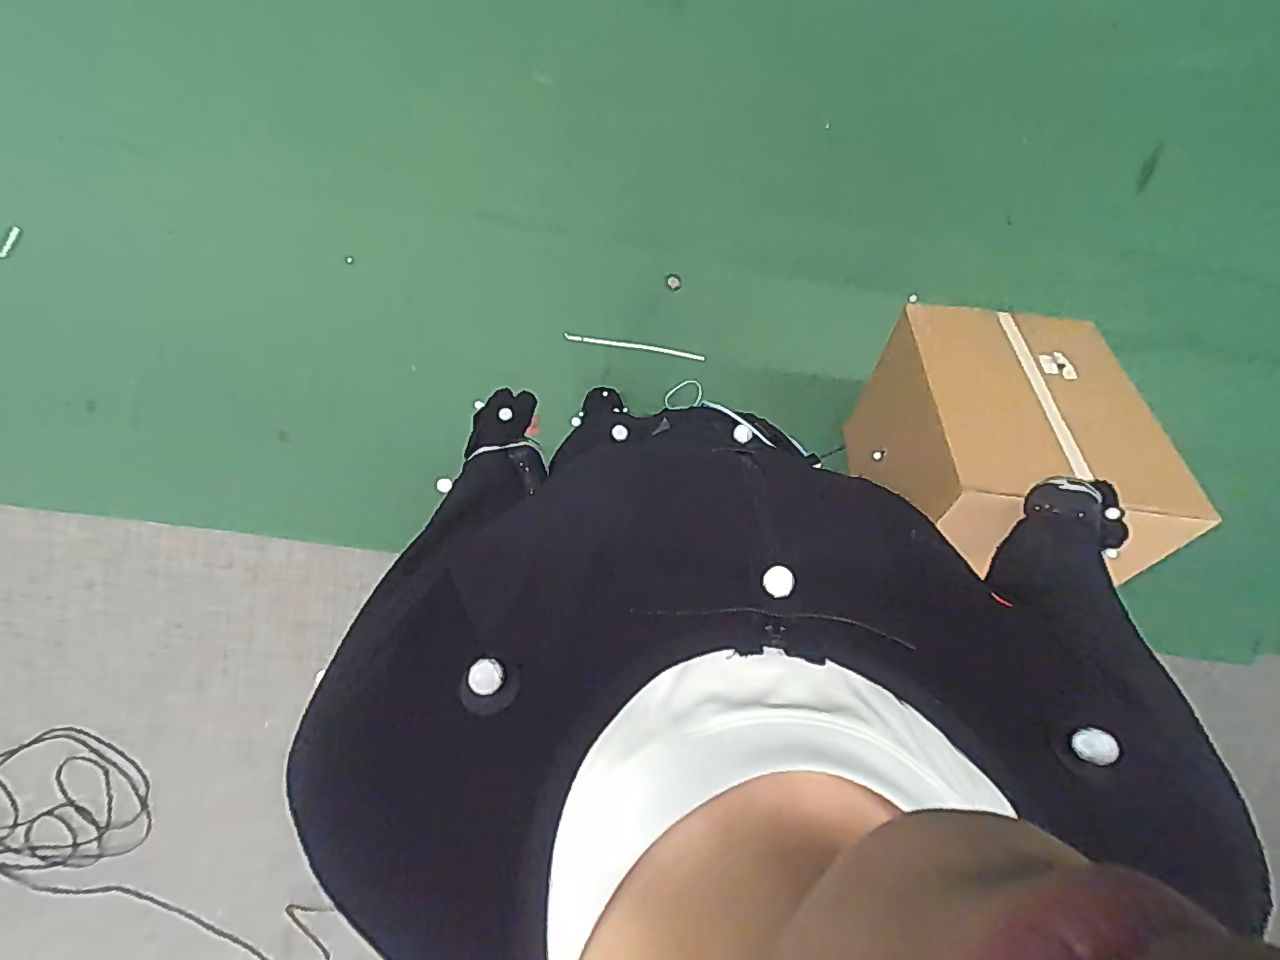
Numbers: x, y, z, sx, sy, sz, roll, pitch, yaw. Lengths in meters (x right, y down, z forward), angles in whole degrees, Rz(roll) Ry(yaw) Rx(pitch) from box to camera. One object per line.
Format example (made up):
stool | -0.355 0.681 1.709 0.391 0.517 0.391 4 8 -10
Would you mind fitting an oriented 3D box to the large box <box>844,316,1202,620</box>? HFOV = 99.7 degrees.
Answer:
large box | 0.569 -0.020 0.918 0.320 0.408 0.320 8 140 1
